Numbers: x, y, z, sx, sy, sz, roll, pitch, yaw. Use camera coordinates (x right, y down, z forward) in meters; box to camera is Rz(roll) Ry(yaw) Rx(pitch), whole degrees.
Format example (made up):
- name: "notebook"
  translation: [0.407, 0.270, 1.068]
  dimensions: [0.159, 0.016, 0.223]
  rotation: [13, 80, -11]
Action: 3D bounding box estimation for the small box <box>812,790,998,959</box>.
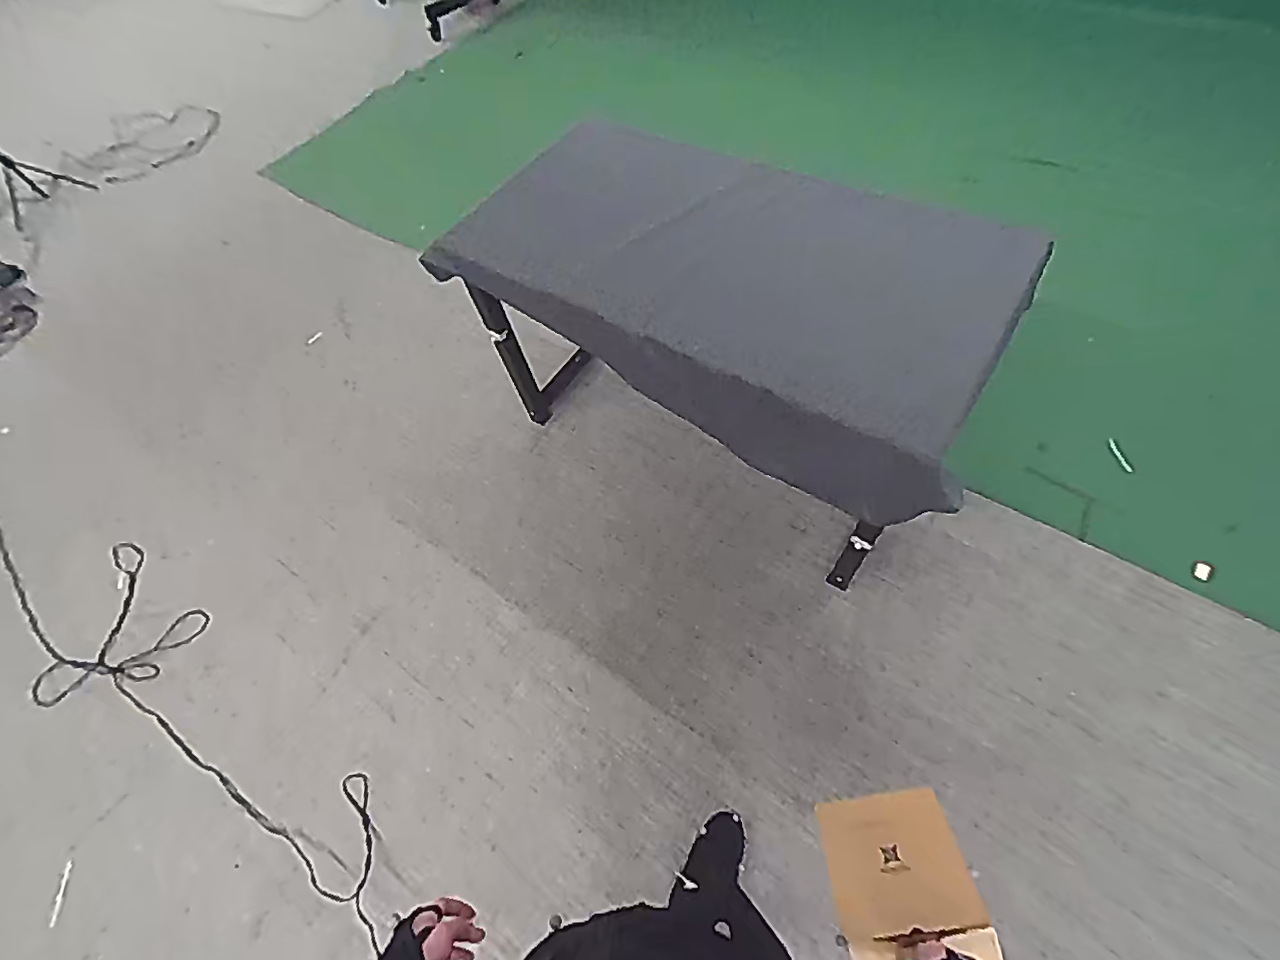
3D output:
- name: "small box"
  translation: [0.341, 0.551, 0.703]
  dimensions: [0.168, 0.176, 0.179]
  rotation: [-16, 18, 10]
